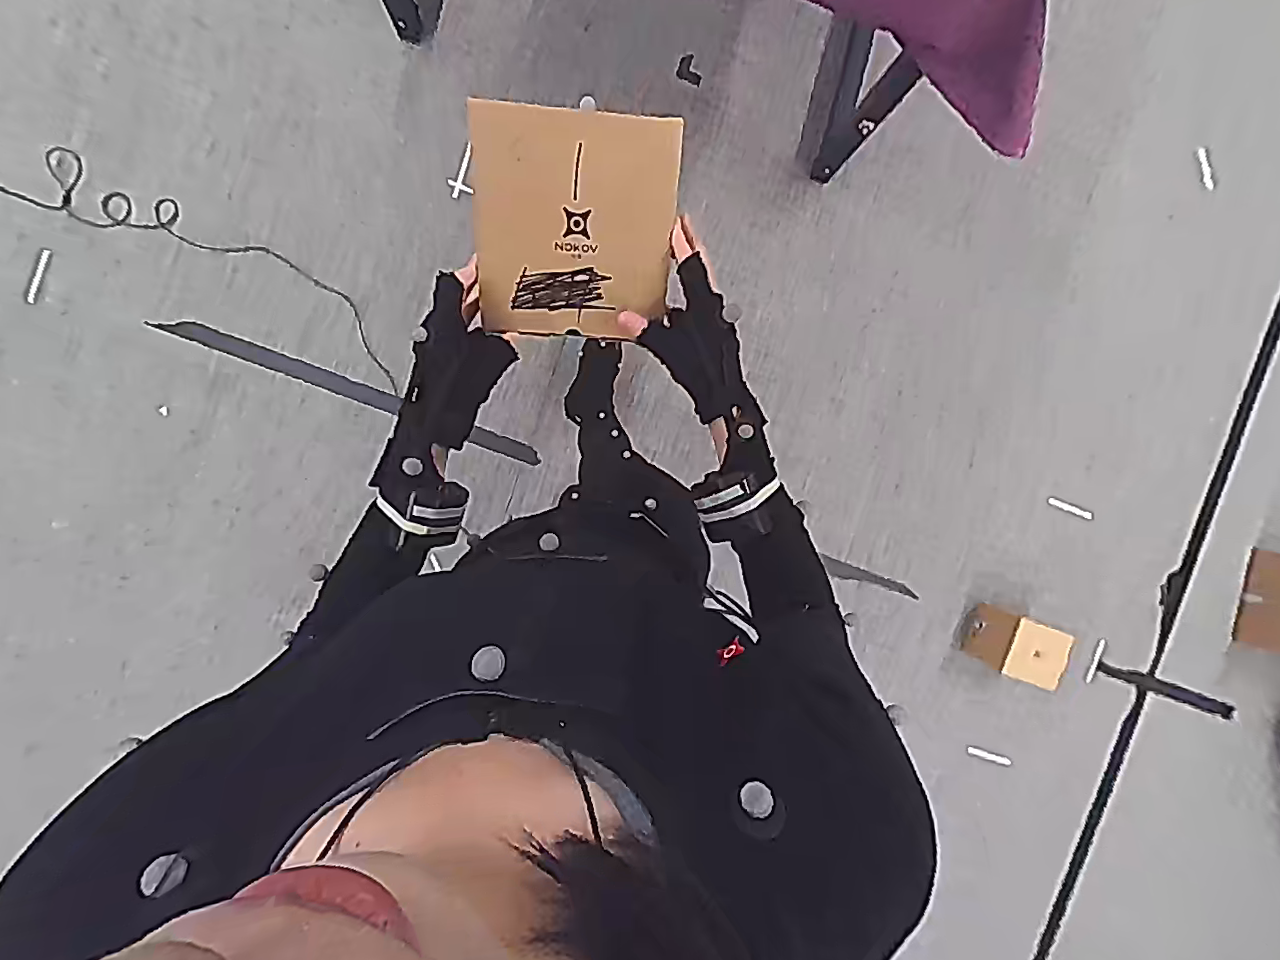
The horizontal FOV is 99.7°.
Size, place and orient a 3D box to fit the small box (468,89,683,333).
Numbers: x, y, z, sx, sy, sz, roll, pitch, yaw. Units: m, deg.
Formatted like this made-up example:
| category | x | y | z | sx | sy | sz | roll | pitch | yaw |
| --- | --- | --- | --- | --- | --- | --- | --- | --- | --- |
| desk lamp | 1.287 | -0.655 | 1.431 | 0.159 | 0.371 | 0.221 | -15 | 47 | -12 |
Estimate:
| category | x | y | z | sx | sy | sz | roll | pitch | yaw |
| --- | --- | --- | --- | --- | --- | --- | --- | --- | --- |
| small box | -0.057 | -0.255 | 0.518 | 0.168 | 0.176 | 0.179 | 1 | 121 | -5 |

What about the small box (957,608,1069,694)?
| category | x | y | z | sx | sy | sz | roll | pitch | yaw |
| --- | --- | --- | --- | --- | --- | --- | --- | --- | --- |
| small box | 1.074 | 0.488 | 1.568 | 0.179 | 0.176 | 0.168 | 20 | 90 | -6 |
